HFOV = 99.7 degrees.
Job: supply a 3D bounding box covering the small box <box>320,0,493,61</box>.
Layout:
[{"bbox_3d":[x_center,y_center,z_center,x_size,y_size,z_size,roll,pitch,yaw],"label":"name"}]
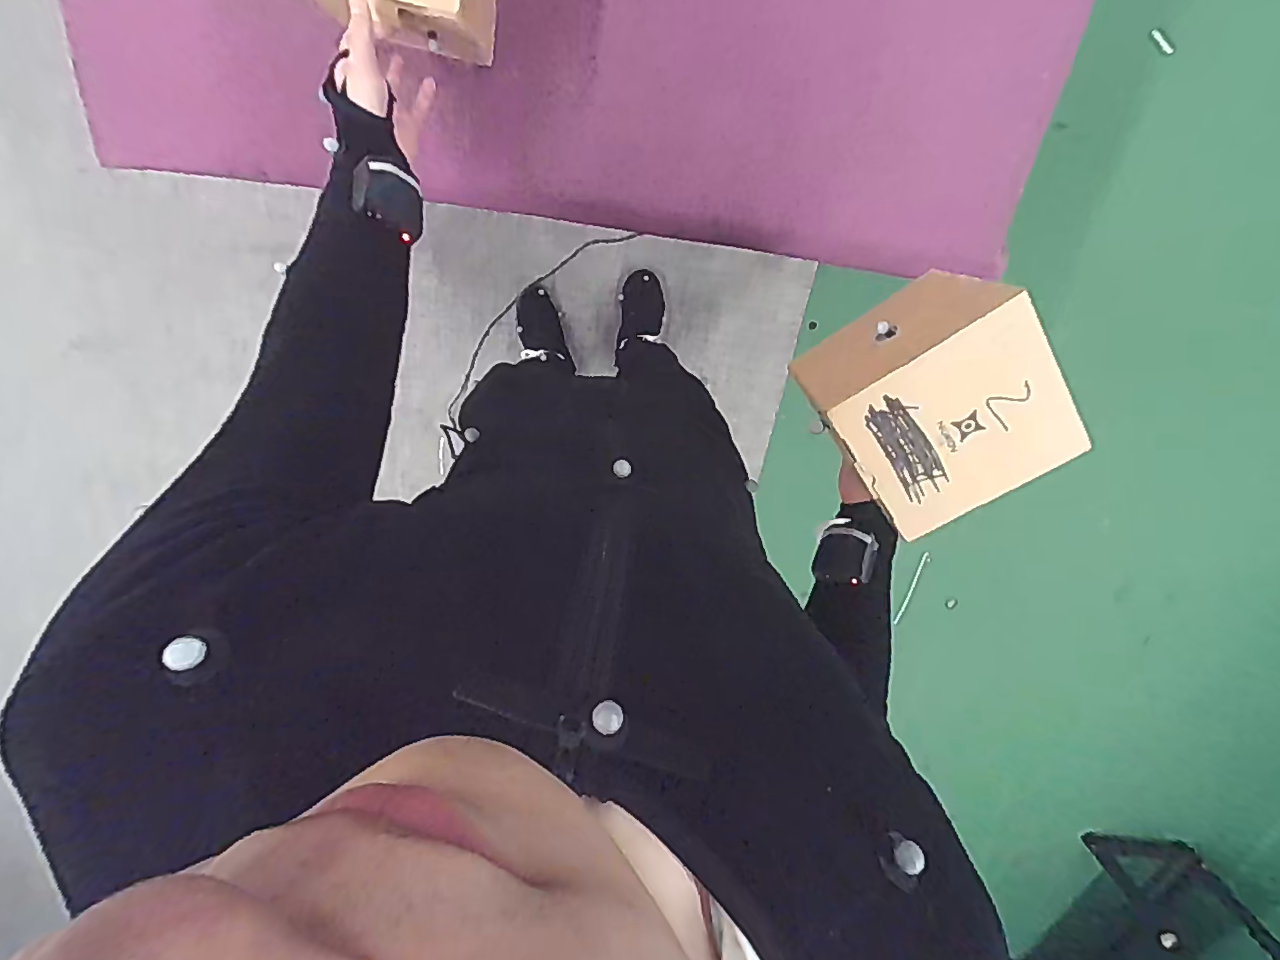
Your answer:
[{"bbox_3d":[-0.244,-0.566,0.550,0.168,0.176,0.179,9,114,-9],"label":"small box"}]
